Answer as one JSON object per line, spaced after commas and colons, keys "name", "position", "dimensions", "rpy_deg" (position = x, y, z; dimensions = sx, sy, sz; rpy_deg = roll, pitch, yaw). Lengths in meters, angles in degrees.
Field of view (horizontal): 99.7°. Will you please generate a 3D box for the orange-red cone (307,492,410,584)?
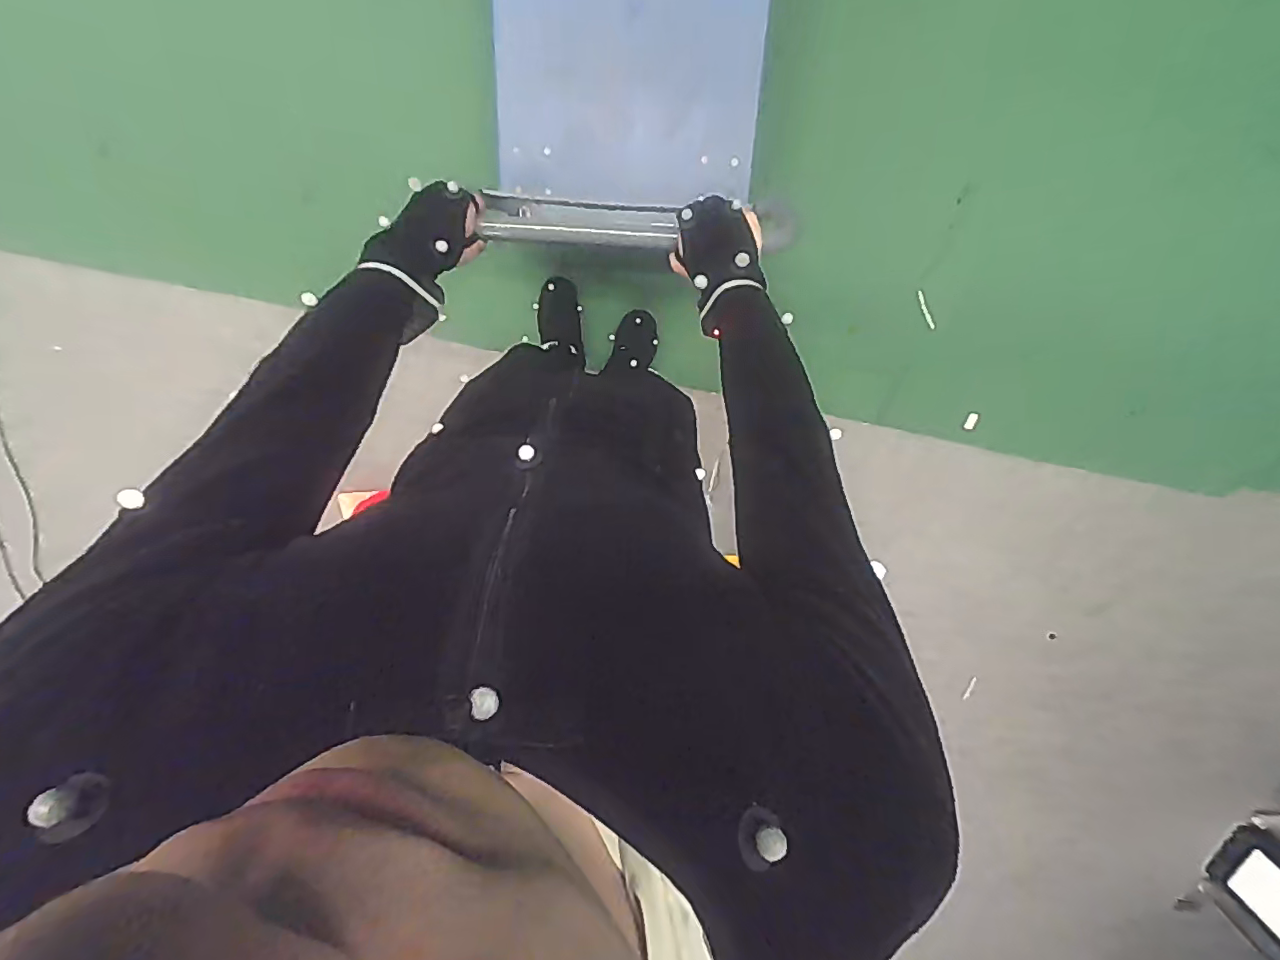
{"name": "orange-red cone", "position": [-0.837, 0.190, 1.548], "dimensions": [0.199, 0.360, 0.198], "rpy_deg": [-2, 111, 2]}
